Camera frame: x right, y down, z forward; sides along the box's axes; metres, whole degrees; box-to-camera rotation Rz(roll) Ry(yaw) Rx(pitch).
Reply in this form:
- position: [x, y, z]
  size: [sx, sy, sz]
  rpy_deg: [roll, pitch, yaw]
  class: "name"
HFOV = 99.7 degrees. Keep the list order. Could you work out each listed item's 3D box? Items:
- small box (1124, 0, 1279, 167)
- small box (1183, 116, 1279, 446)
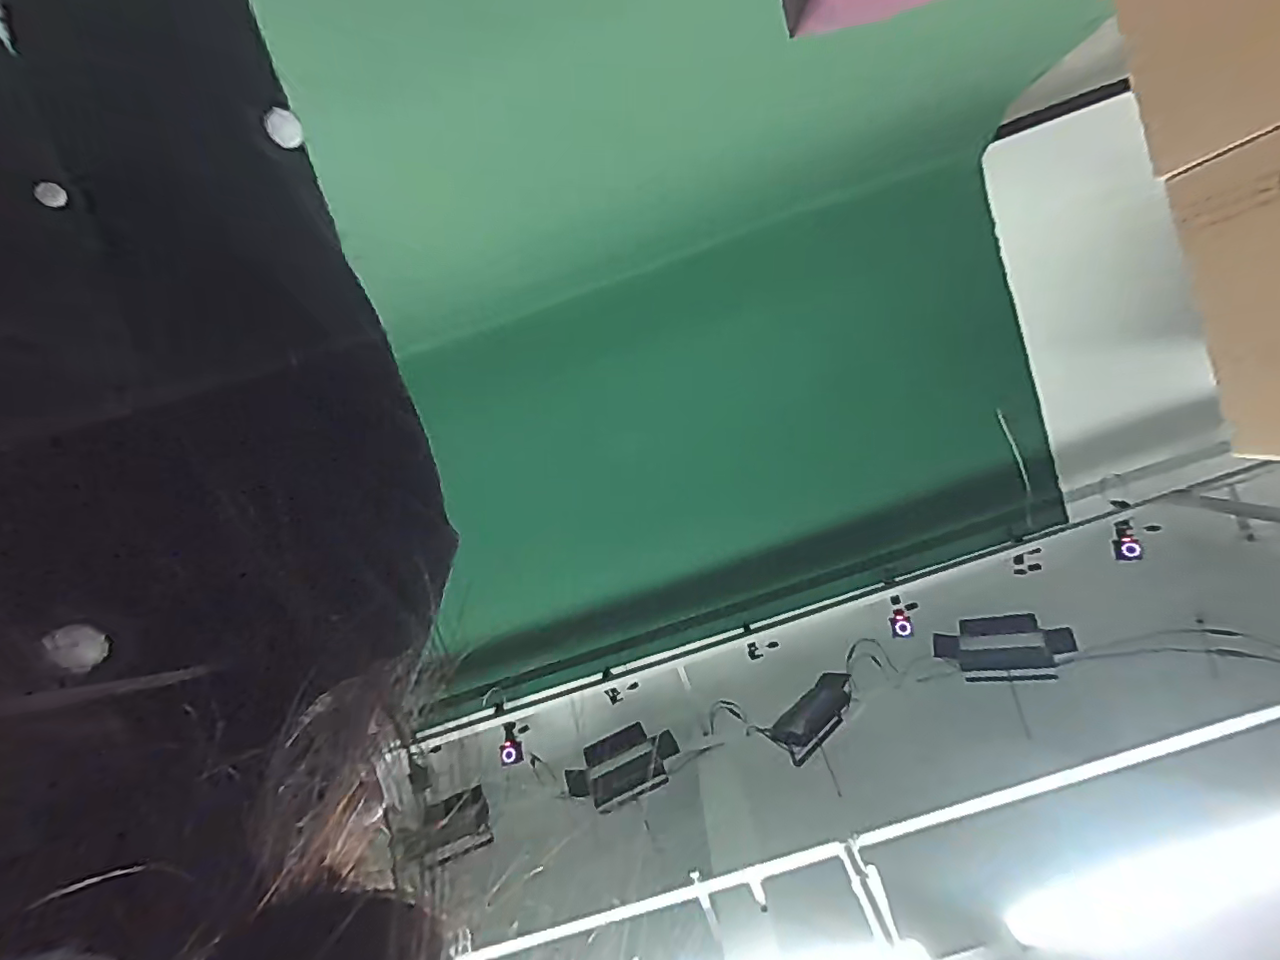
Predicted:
- position: [0.340, -0.268, 0.207]
  size: [0.179, 0.176, 0.168]
  rpy_deg: [-20, -174, 1]
  class: "small box"
- position: [0.398, -0.117, 0.221]
  size: [0.179, 0.176, 0.168]
  rpy_deg: [-20, -174, 4]
  class: "small box"
